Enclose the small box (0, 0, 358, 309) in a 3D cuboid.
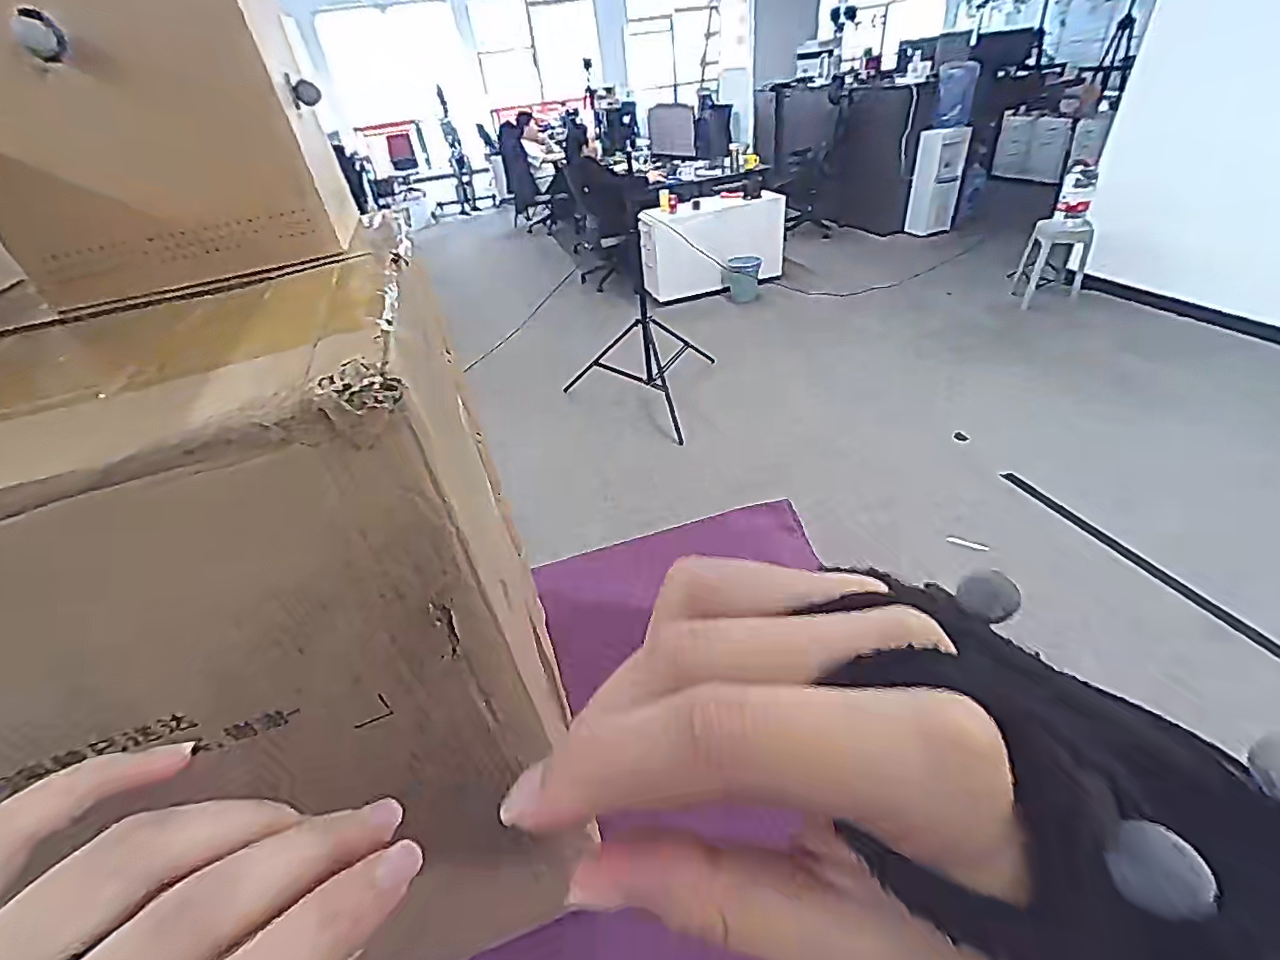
[{"bbox_3d":[-0.314,-0.236,0.364,0.179,0.176,0.168,-19,38,-11],"label":"small box"}]
